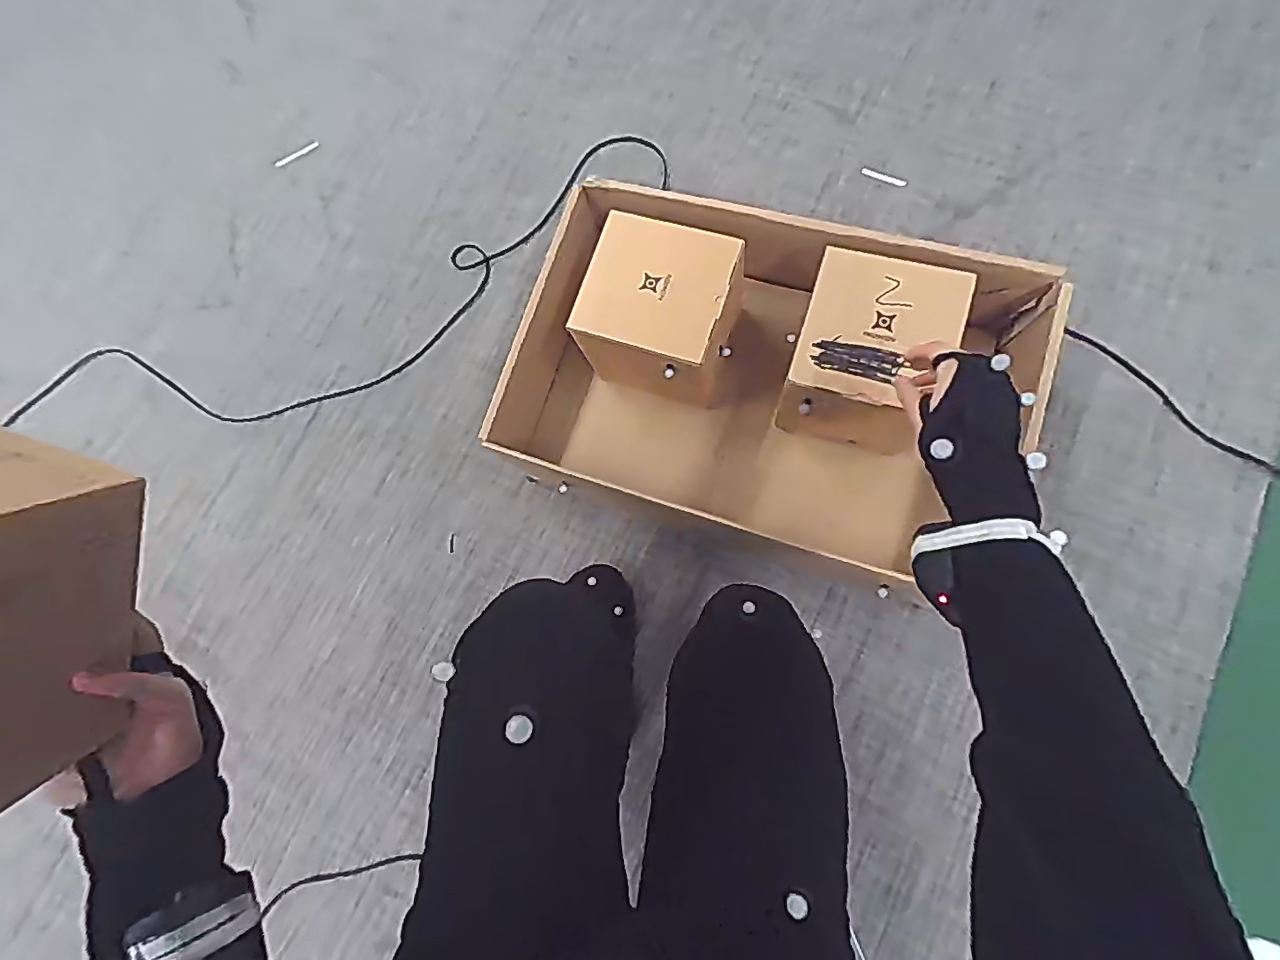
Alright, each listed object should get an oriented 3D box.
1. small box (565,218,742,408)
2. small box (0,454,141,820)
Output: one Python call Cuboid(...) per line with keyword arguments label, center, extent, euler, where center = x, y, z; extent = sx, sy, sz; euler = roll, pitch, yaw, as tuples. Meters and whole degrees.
Cuboid(label="small box", center=(0.026, -0.212, 0.728), extent=(0.179, 0.176, 0.168), euler=(18, 83, 11))
Cuboid(label="small box", center=(-0.382, 0.078, 0.244), extent=(0.168, 0.176, 0.179), euler=(20, 105, 2))
